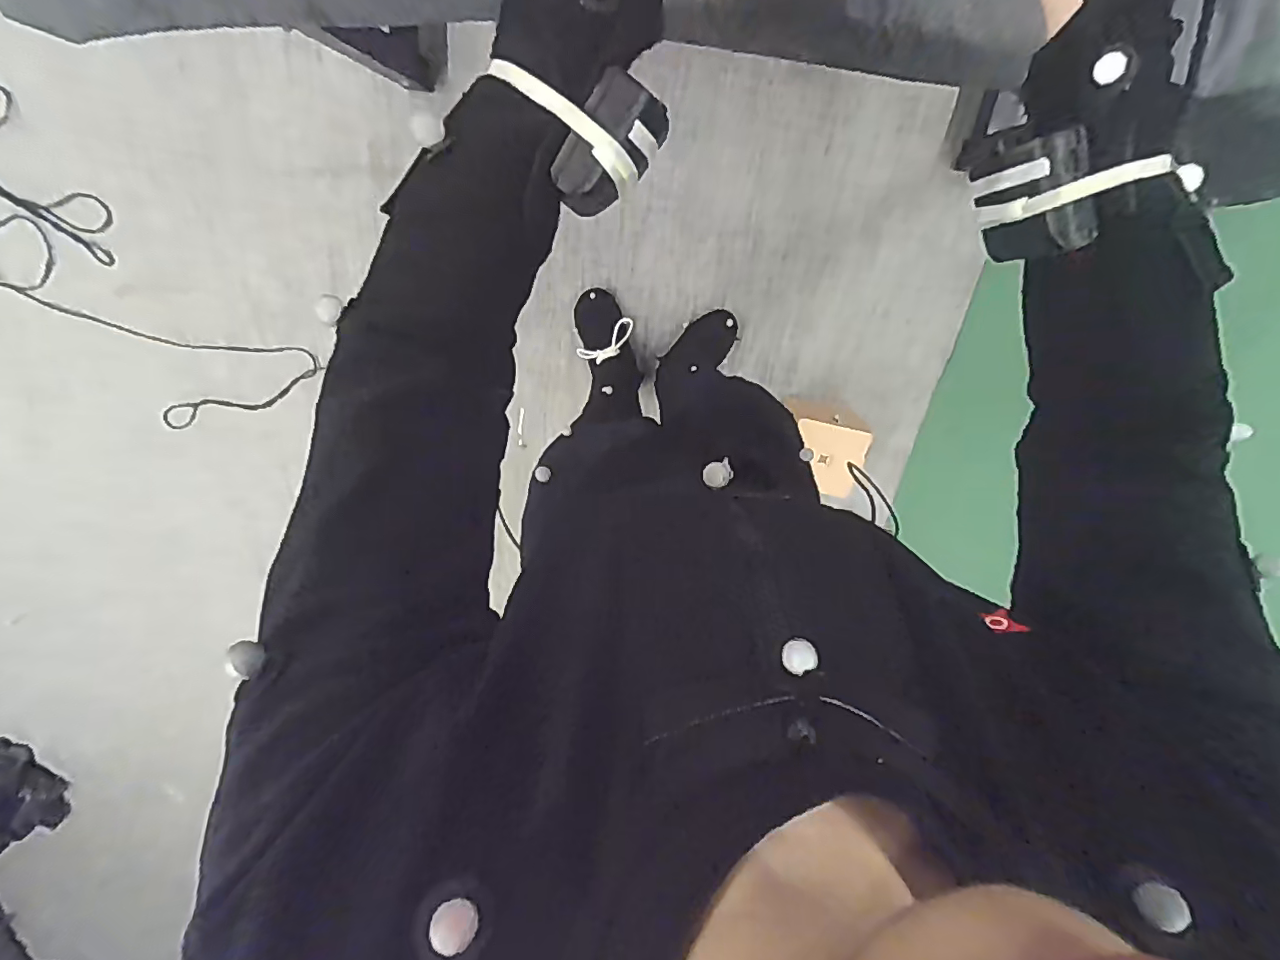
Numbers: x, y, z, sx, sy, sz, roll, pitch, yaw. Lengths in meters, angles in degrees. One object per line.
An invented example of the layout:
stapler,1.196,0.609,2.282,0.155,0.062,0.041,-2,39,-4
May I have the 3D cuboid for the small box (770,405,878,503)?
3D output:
small box,0.425,-0.068,1.280,0.179,0.176,0.168,12,113,-1
